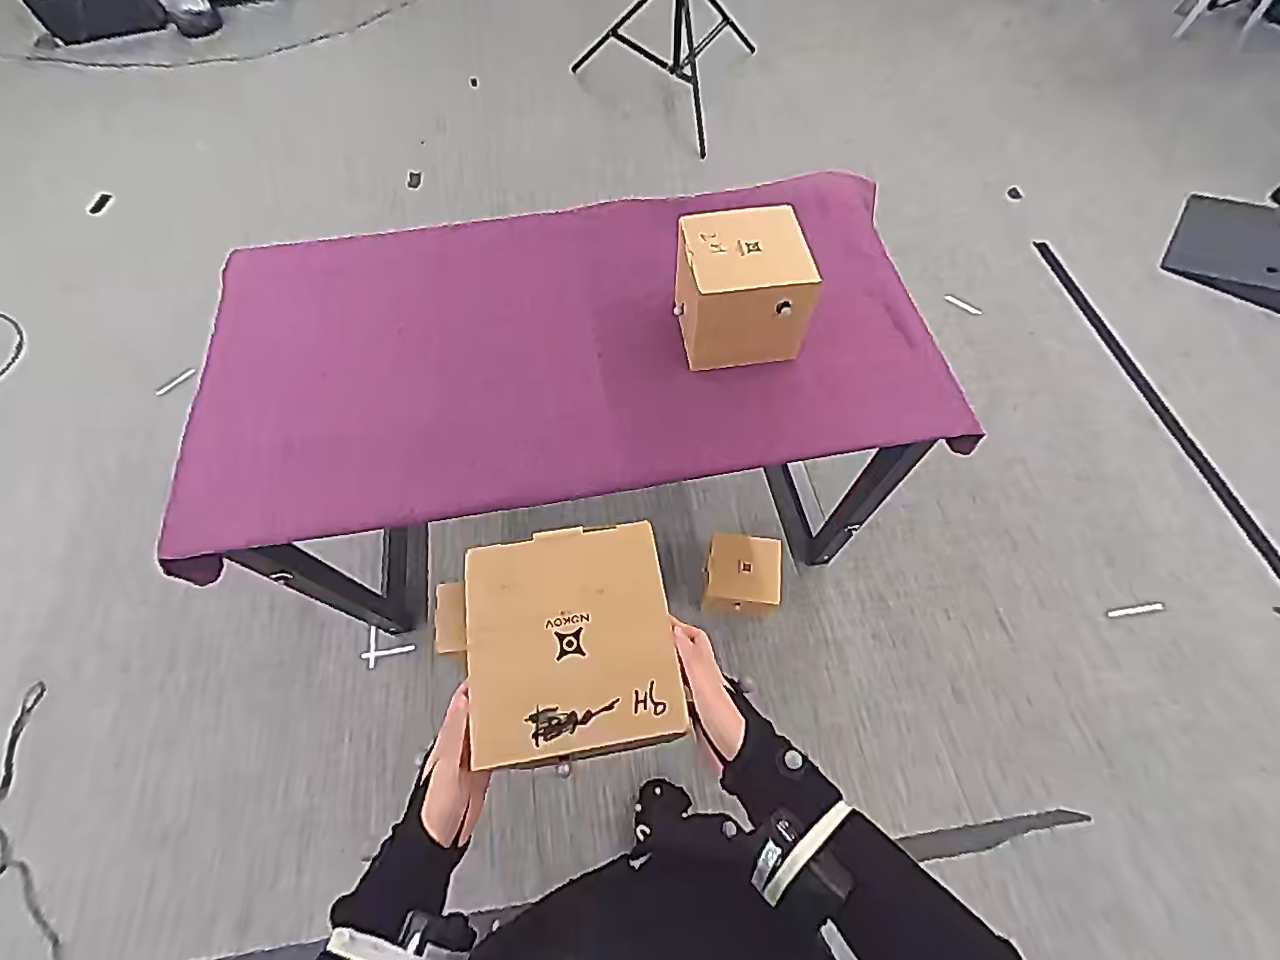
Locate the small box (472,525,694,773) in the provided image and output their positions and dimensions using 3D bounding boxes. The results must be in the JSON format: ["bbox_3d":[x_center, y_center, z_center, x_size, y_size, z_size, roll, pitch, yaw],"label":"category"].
[{"bbox_3d":[-0.053,0.163,0.505,0.168,0.176,0.179,-9,62,-4],"label":"small box"}]

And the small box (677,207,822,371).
[{"bbox_3d":[0.158,-0.292,0.847,0.179,0.176,0.168,-7,62,-2],"label":"small box"}]

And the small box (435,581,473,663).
[{"bbox_3d":[-0.393,0.355,1.352,0.179,0.176,0.168,-6,64,-3],"label":"small box"}]

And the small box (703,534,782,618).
[{"bbox_3d":[0.260,0.251,1.390,0.179,0.176,0.168,6,64,6],"label":"small box"}]
